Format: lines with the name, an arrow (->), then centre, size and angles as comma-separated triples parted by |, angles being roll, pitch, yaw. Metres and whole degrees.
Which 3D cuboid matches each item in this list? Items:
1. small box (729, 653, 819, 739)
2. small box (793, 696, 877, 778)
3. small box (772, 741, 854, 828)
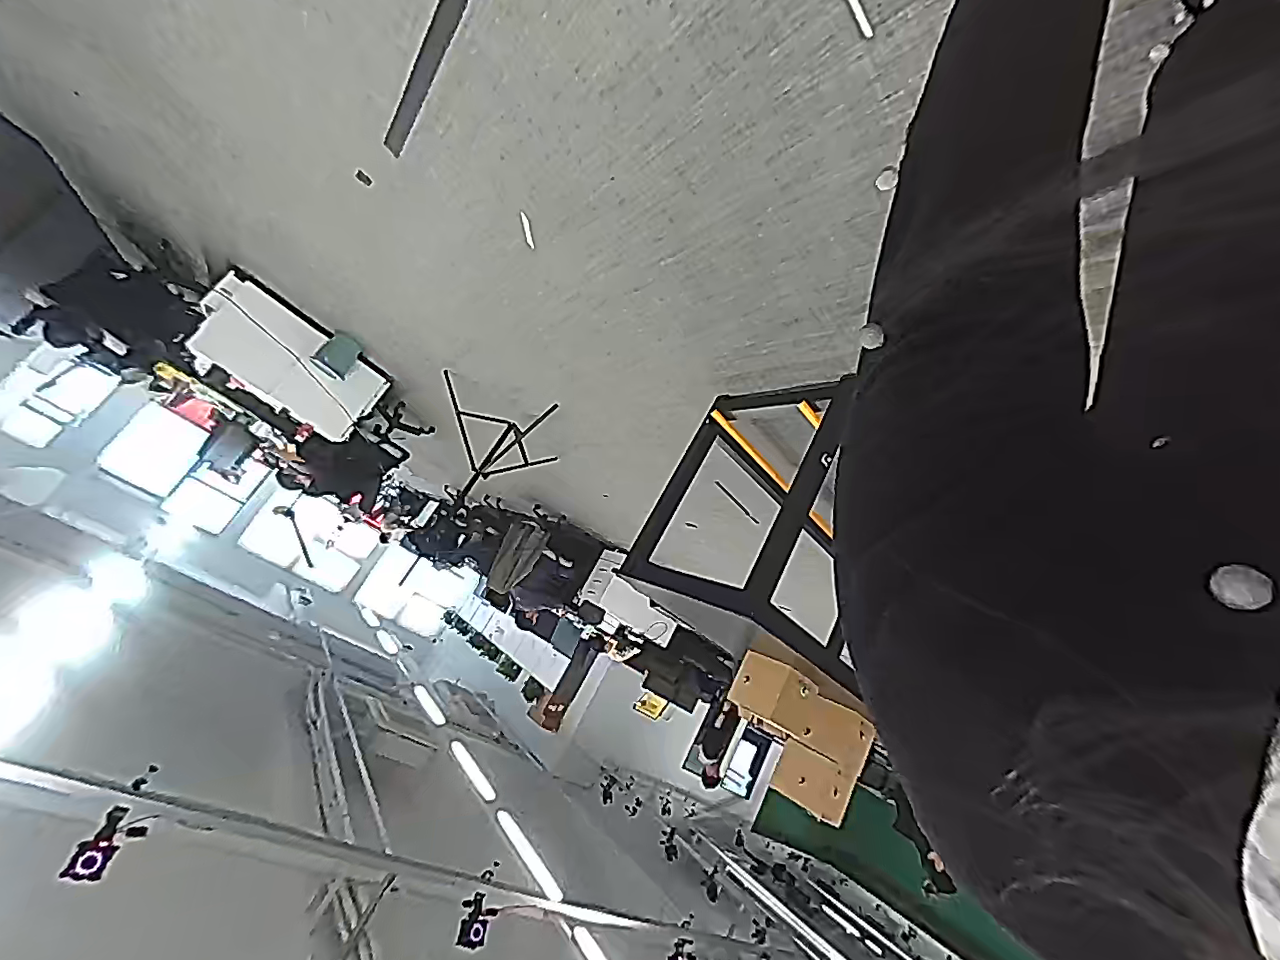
small box -> 0.409, 0.646, 1.640 | 0.168, 0.176, 0.179 | 38, 160, -29
small box -> 0.647, 0.838, 1.784 | 0.168, 0.176, 0.179 | 40, 160, -31
small box -> 0.565, 0.974, 1.745 | 0.168, 0.176, 0.179 | 40, 160, -28
